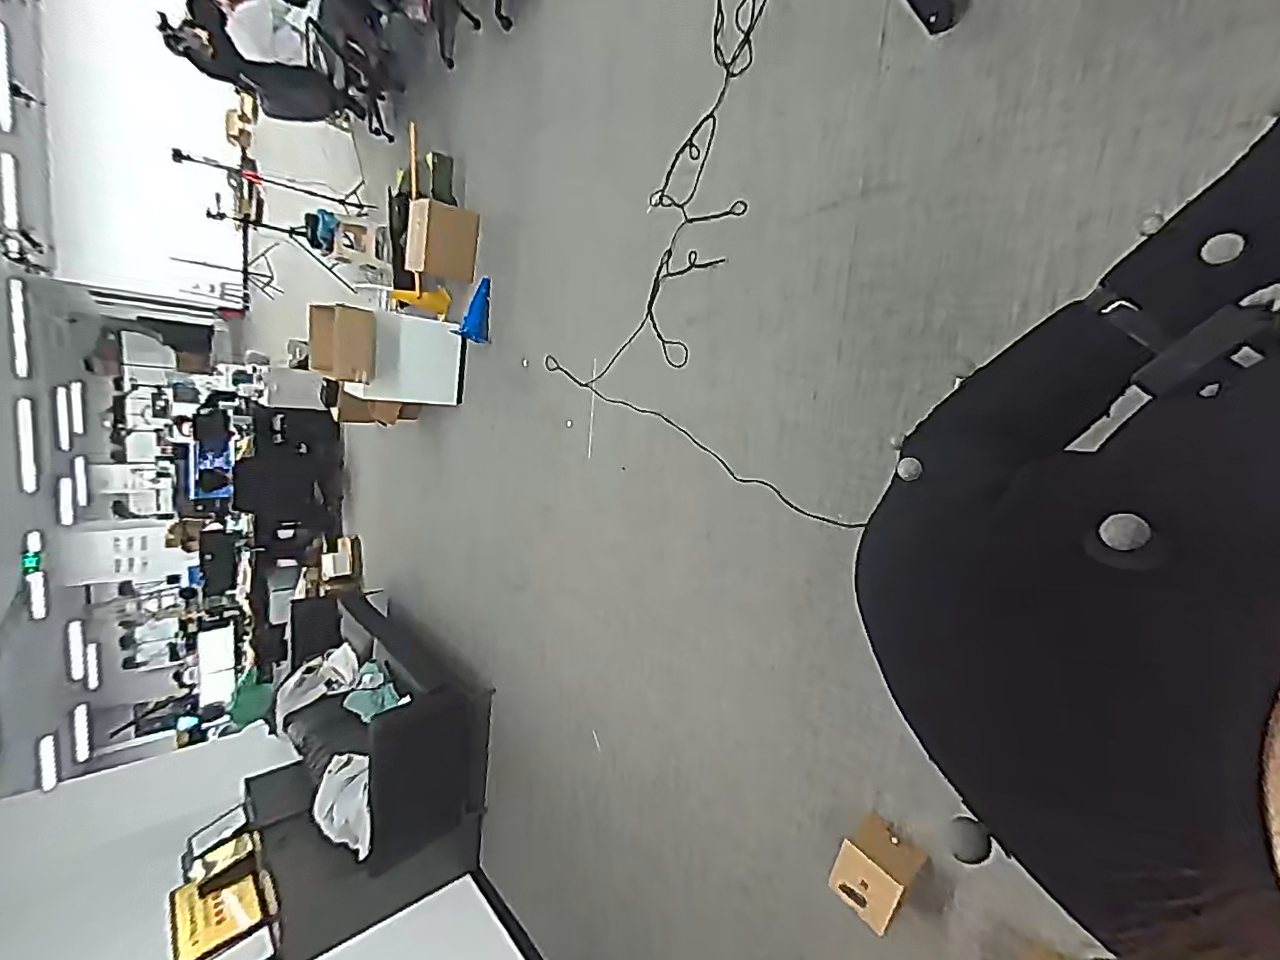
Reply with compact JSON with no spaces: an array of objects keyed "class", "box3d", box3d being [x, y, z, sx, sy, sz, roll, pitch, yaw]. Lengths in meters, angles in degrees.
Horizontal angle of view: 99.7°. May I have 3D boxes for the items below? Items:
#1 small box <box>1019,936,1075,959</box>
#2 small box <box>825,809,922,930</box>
[{"class":"small box","box3d":[0.928,1.183,1.192,0.168,0.176,0.179,8,98,47]},{"class":"small box","box3d":[0.647,1.065,1.492,0.168,0.176,0.179,27,111,43]}]
